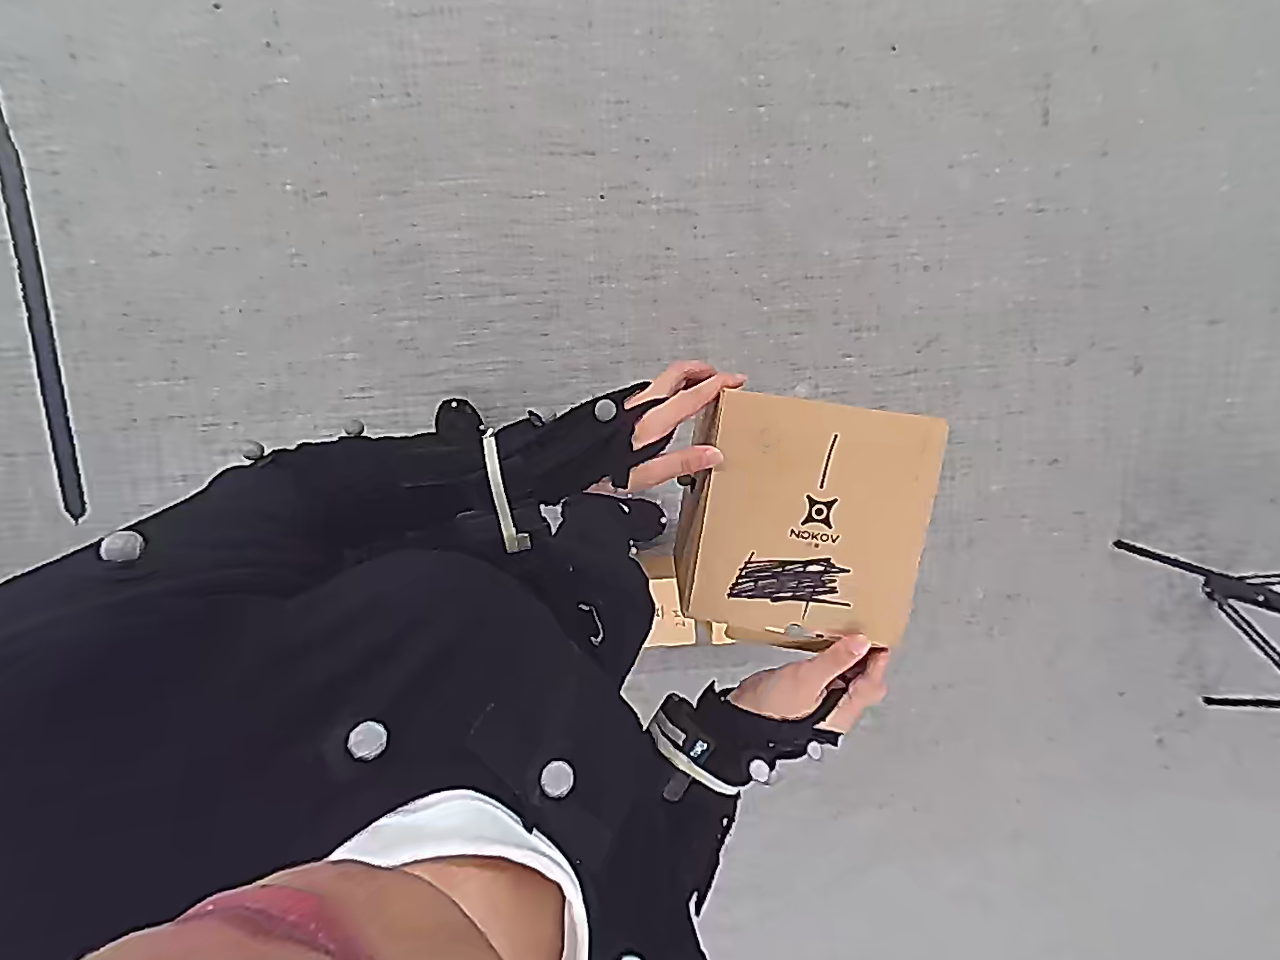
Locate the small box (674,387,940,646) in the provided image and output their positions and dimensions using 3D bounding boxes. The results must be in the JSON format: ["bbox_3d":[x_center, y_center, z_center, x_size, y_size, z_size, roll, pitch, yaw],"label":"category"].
[{"bbox_3d":[0.123,0.019,0.476,0.168,0.176,0.179,8,98,-1],"label":"small box"}]
